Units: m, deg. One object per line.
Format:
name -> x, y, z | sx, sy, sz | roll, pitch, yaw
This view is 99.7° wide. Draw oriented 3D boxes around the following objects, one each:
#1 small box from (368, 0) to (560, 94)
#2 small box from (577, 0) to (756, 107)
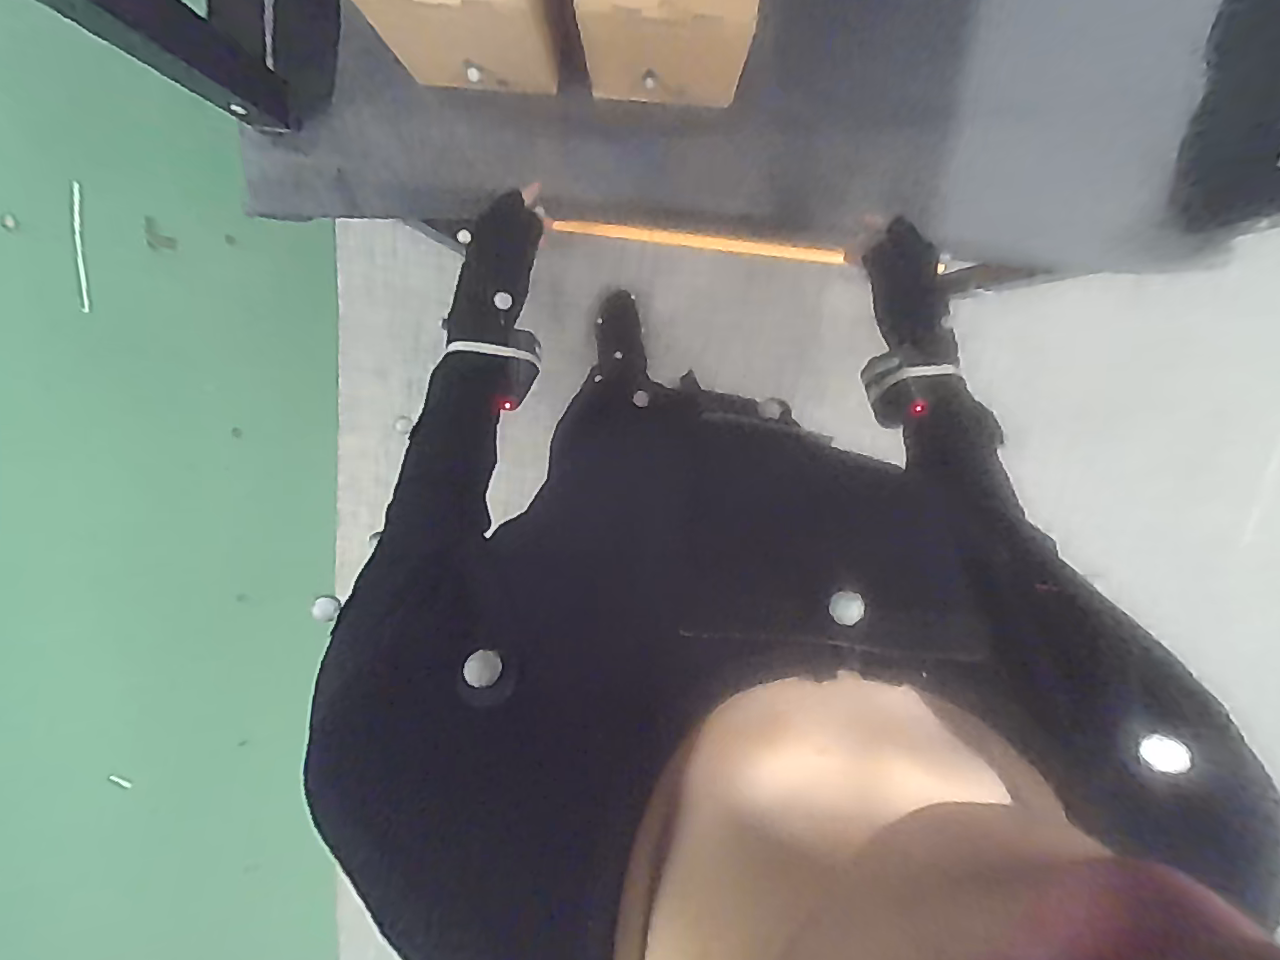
small box -> -0.175, -0.532, 0.543 | 0.168, 0.176, 0.179 | 4, 102, 0
small box -> 0.029, -0.519, 0.547 | 0.168, 0.176, 0.179 | 4, 102, 0
